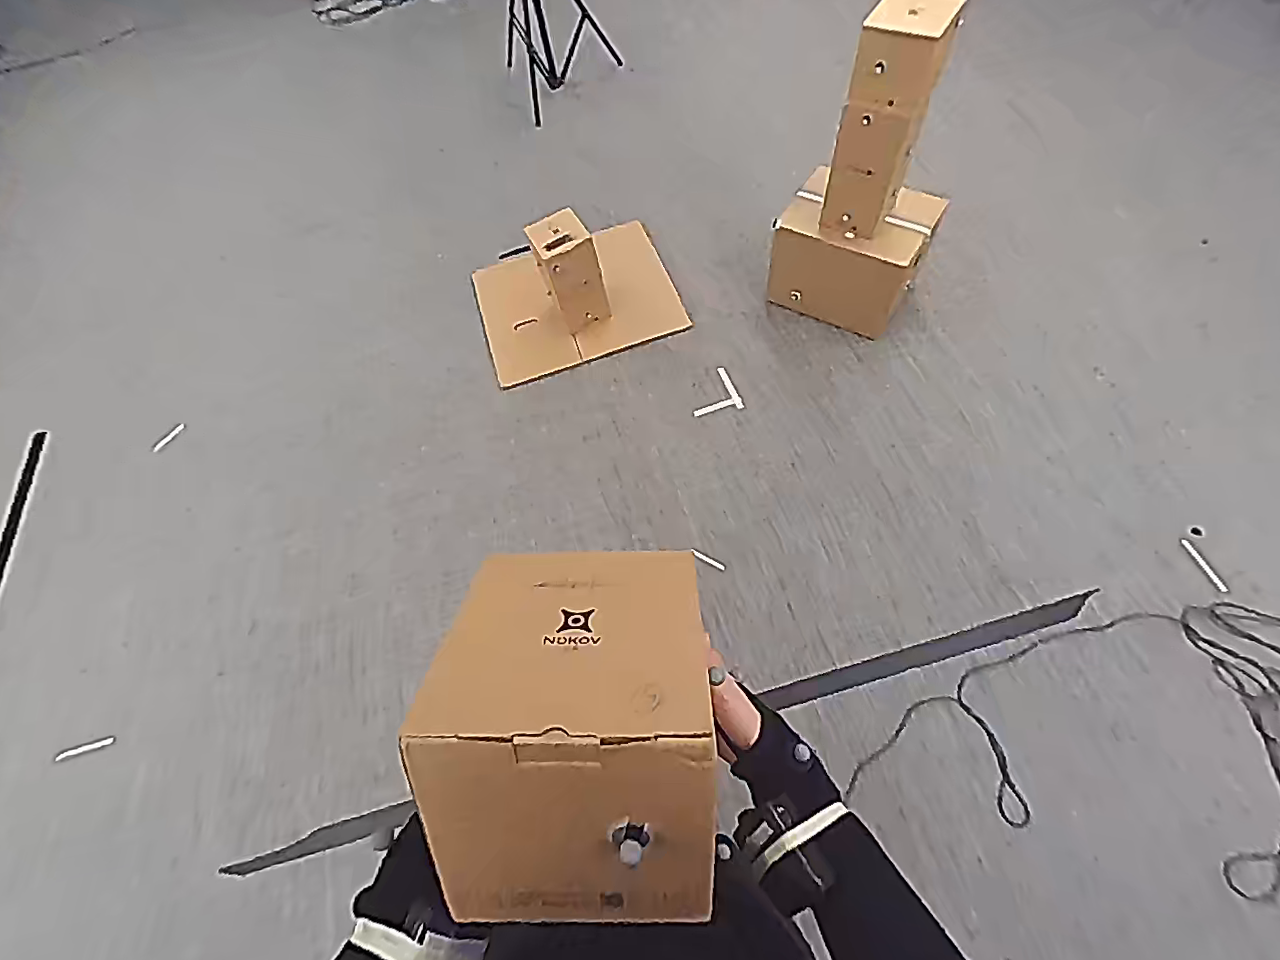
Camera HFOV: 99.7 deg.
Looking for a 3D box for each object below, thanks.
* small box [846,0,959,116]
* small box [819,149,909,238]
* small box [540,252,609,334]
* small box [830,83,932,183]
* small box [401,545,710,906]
[{"bbox_3d":[0.589,-0.973,1.236,0.168,0.176,0.179,27,69,19],"label":"small box"},{"bbox_3d":[0.623,-0.826,1.526,0.168,0.176,0.179,27,70,19],"label":"small box"},{"bbox_3d":[-0.225,-0.648,1.883,0.168,0.176,0.179,-27,63,-4],"label":"small box"},{"bbox_3d":[0.606,-0.903,1.382,0.168,0.176,0.179,27,69,20],"label":"small box"},{"bbox_3d":[-0.039,0.164,0.384,0.168,0.176,0.179,0,24,1],"label":"small box"}]
